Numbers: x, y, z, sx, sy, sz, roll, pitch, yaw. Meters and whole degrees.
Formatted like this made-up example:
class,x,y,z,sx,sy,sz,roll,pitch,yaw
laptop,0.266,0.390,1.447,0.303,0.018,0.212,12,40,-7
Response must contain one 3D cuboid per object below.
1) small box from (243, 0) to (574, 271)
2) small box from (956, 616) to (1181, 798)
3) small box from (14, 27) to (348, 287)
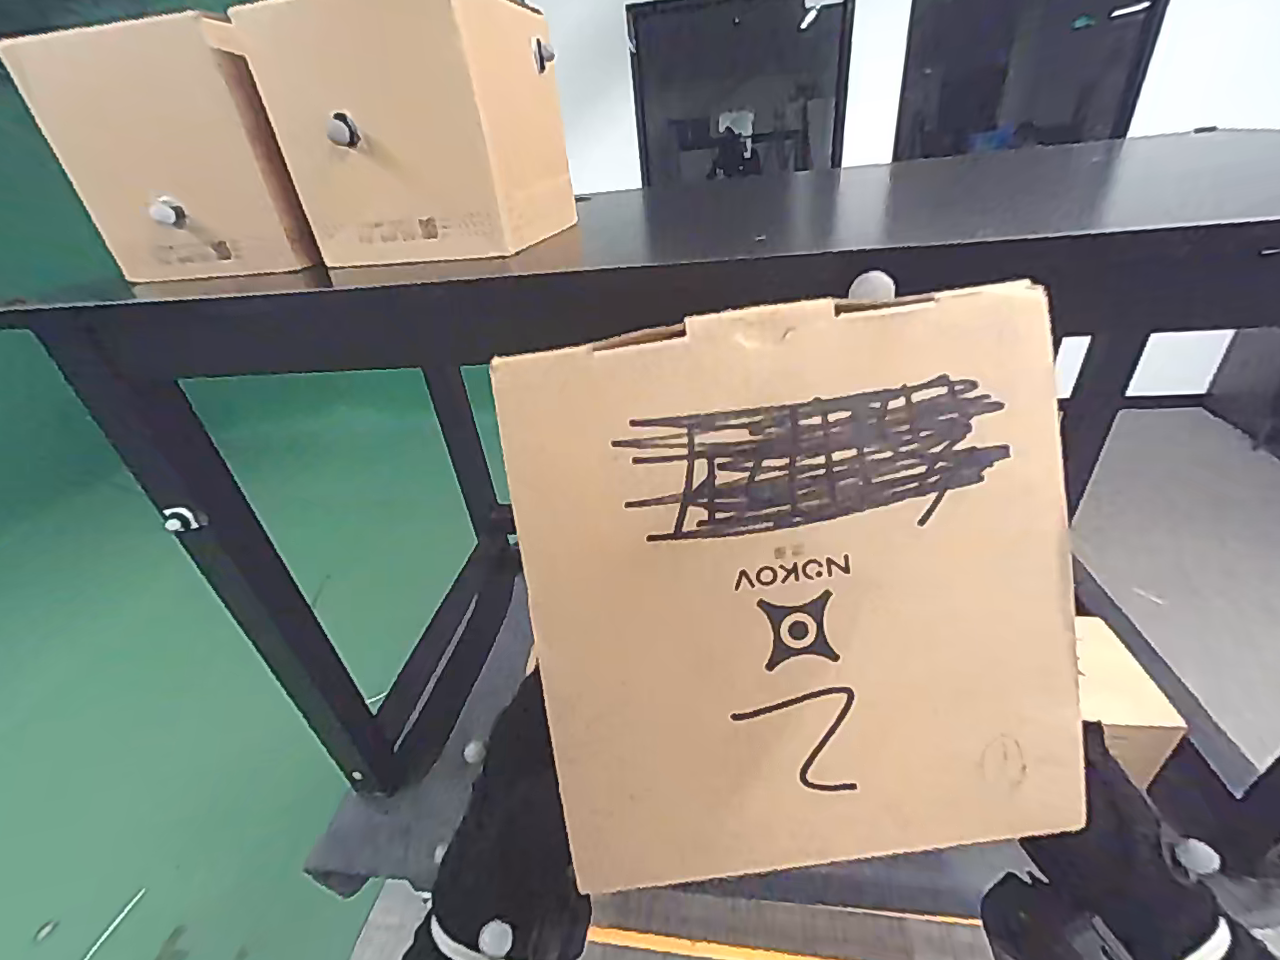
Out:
class,x,y,z,sx,sy,sz,roll,pitch,yaw
small box,-0.165,-0.278,0.456,0.168,0.176,0.179,2,32,13
small box,0.571,0.312,0.753,0.168,0.176,0.179,-1,31,8
small box,-0.353,-0.280,0.487,0.168,0.176,0.179,-1,34,8
